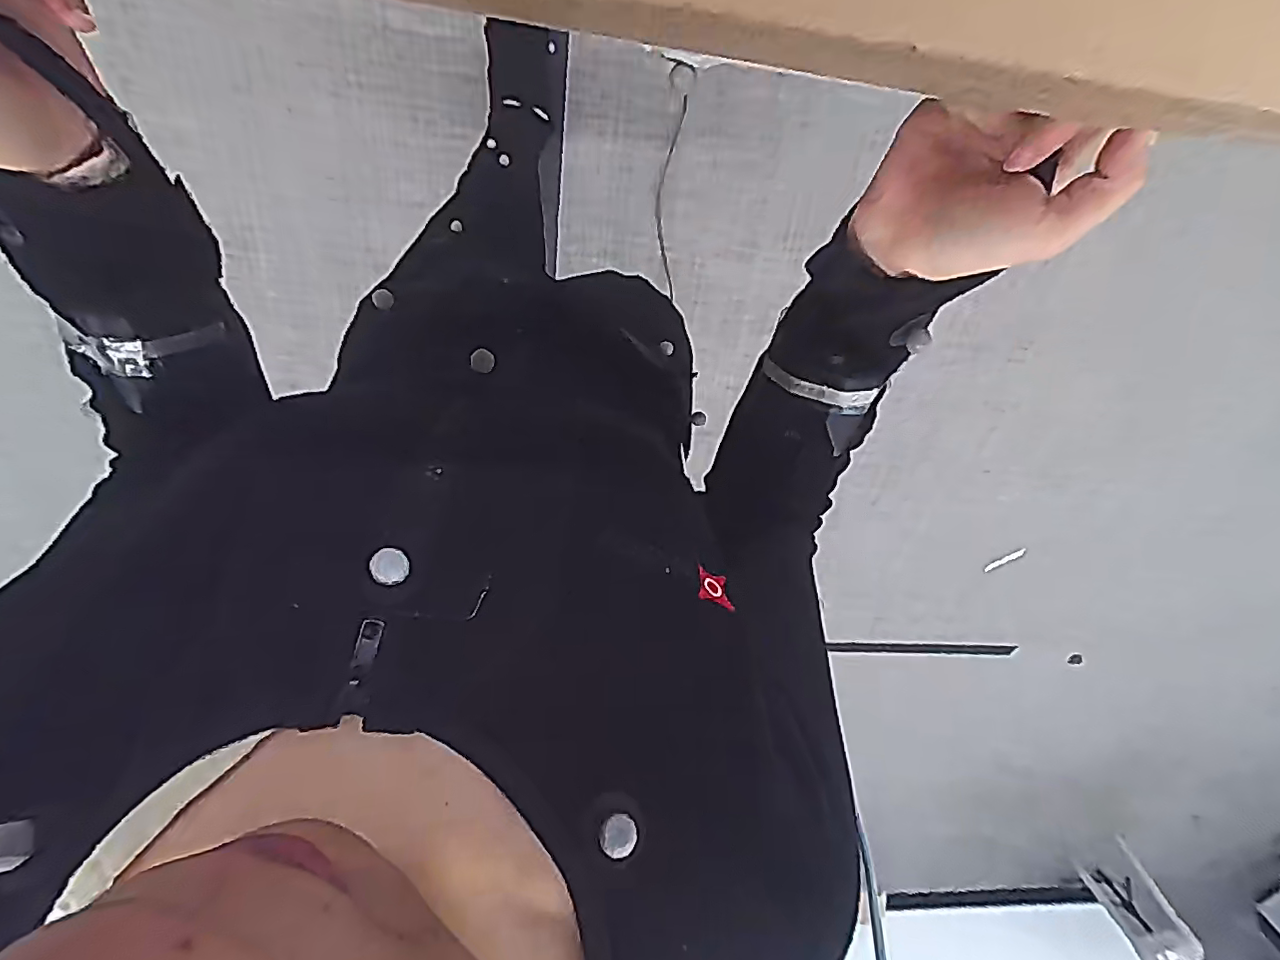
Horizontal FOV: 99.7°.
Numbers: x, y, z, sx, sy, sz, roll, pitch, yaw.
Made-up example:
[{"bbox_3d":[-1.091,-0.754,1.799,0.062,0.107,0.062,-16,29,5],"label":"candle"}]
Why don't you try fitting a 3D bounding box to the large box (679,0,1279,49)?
[{"bbox_3d":[-0.020,-0.304,0.092,0.408,0.320,0.320,3,130,-7],"label":"large box"}]
